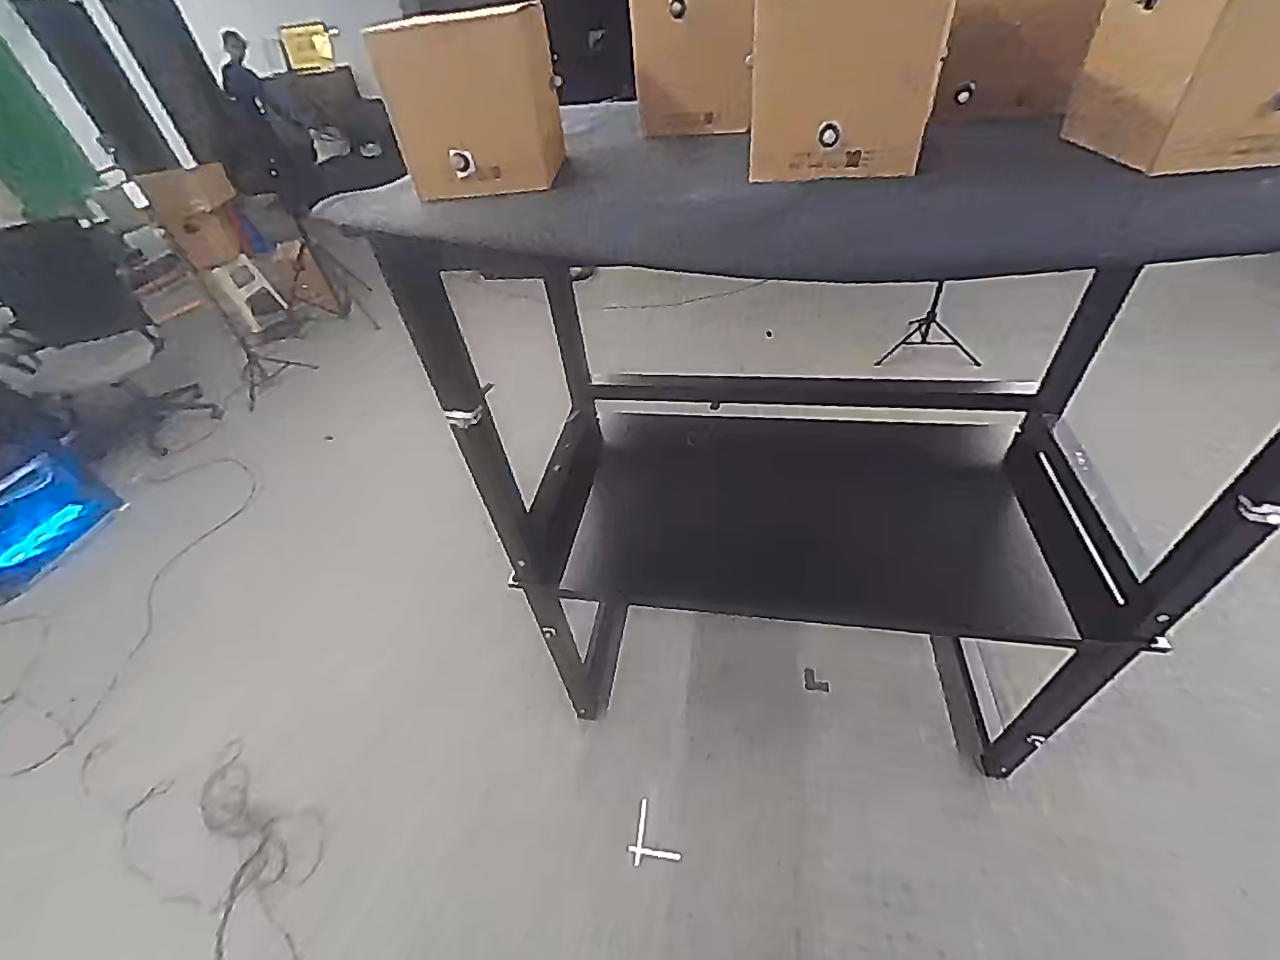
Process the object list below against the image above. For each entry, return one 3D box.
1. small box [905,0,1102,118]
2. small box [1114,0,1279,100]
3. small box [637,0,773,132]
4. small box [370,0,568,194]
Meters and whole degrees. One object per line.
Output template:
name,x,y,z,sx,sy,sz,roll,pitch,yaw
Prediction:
small box,0.463,-0.583,0.700,0.168,0.176,0.179,2,43,9
small box,0.747,-0.585,0.661,0.168,0.176,0.179,-5,46,4
small box,0.100,-0.625,0.792,0.168,0.176,0.179,6,45,15
small box,-0.189,-0.469,0.665,0.168,0.176,0.179,-3,43,5
